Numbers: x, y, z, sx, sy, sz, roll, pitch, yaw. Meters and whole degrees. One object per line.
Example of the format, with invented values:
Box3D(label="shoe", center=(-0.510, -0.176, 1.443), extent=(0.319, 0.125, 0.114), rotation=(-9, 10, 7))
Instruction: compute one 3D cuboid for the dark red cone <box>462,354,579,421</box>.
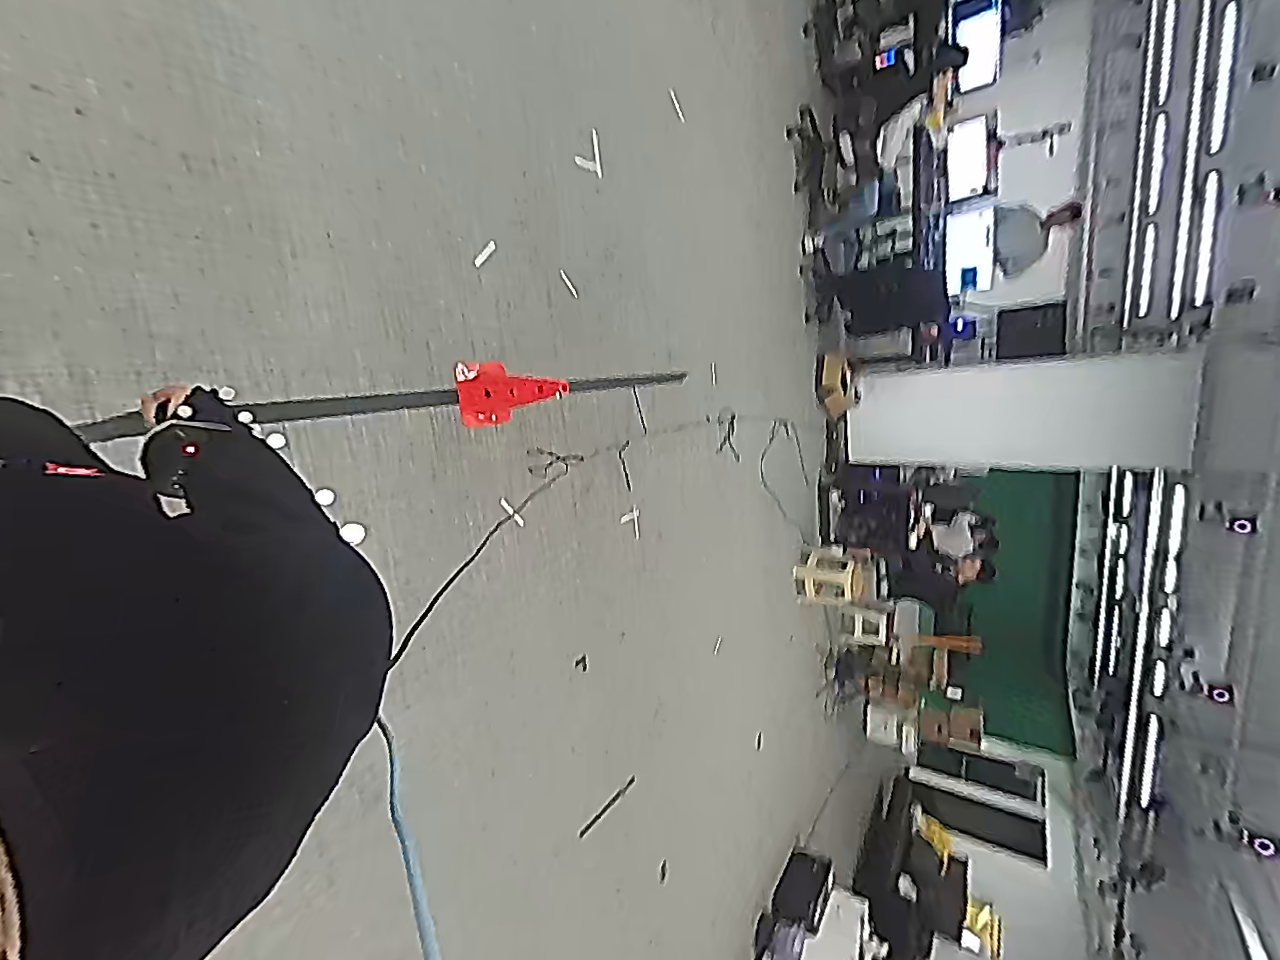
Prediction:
Box3D(label="dark red cone", center=(-0.349, -0.289, 1.646), extent=(0.202, 0.394, 0.201), rotation=(-22, 112, -53))
